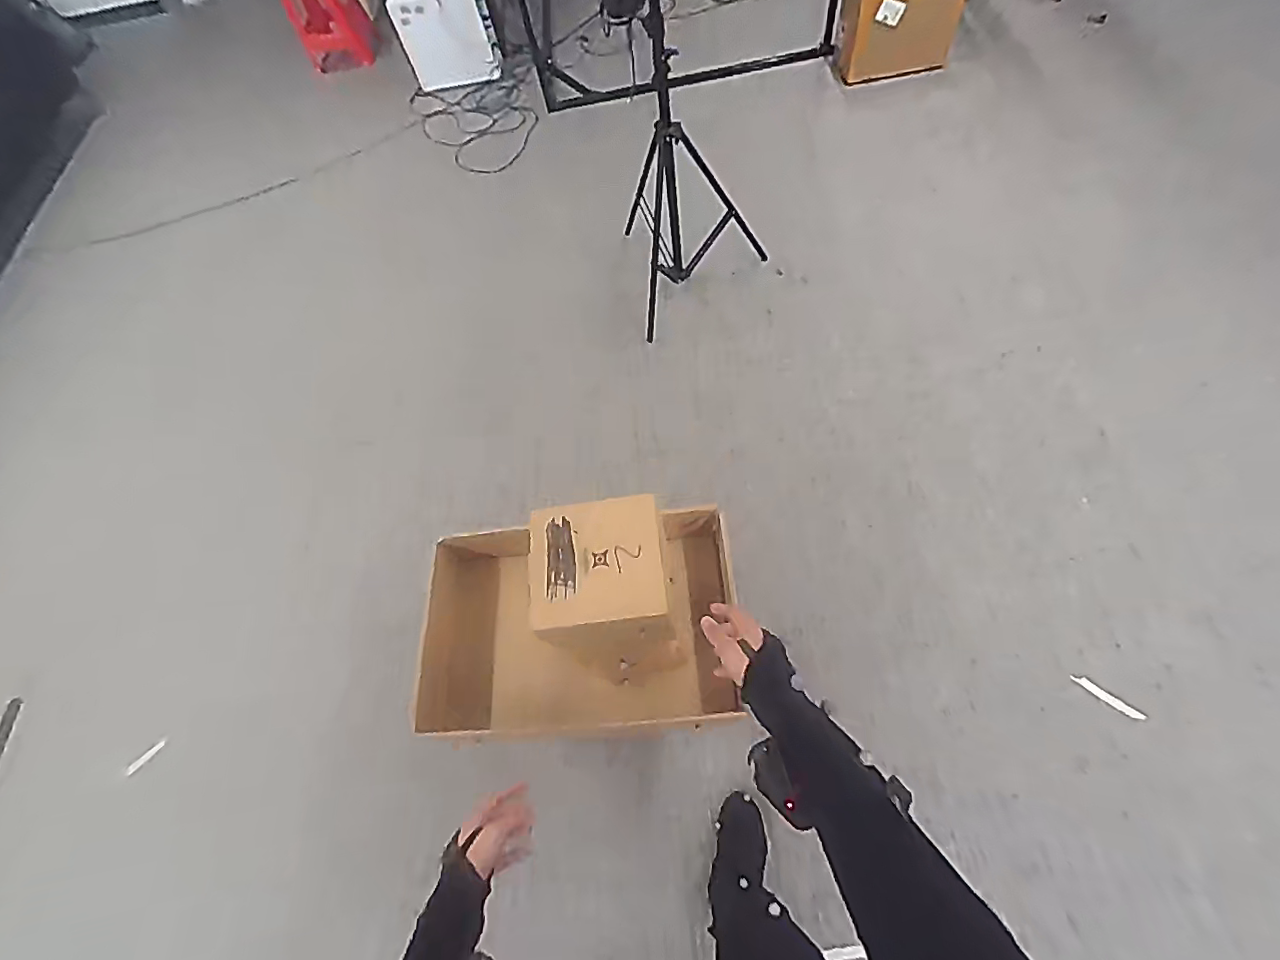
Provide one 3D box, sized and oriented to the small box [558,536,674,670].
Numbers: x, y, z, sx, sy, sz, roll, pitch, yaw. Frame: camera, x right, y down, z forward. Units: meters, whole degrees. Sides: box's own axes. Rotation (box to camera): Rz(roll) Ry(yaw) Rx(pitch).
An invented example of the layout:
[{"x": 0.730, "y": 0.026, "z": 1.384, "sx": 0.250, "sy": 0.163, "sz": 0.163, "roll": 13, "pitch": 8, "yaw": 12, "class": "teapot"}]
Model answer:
[{"x": -0.037, "y": 0.213, "z": 0.915, "sx": 0.168, "sy": 0.176, "sz": 0.179, "roll": -9, "pitch": 63, "yaw": 6, "class": "small box"}]
